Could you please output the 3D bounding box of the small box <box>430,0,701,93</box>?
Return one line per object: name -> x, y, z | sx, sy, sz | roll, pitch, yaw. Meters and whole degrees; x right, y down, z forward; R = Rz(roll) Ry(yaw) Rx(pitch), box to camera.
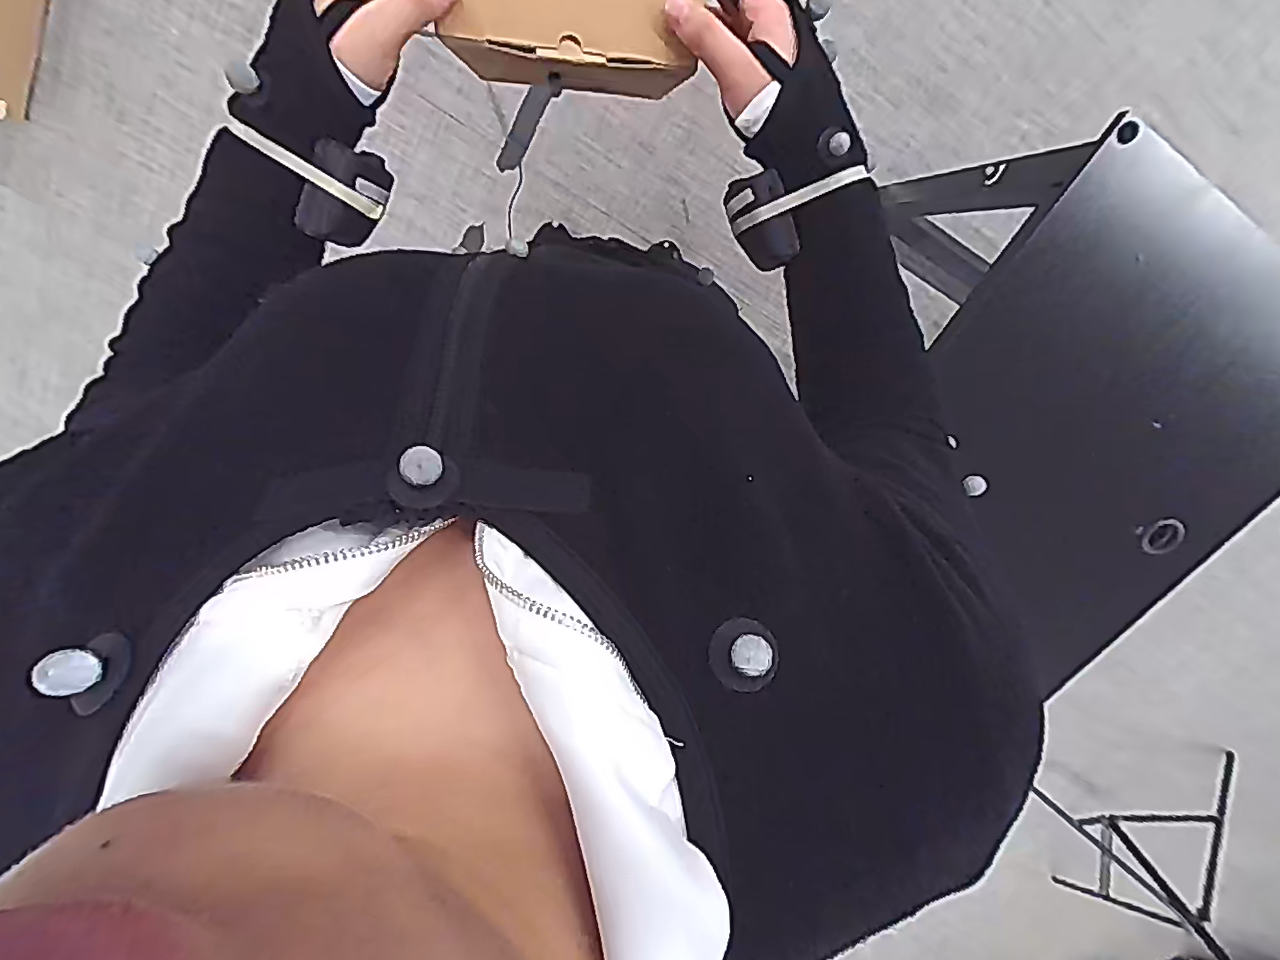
small box -> -0.047, -0.386, 0.366 | 0.168, 0.176, 0.179 | 1, 121, -8
